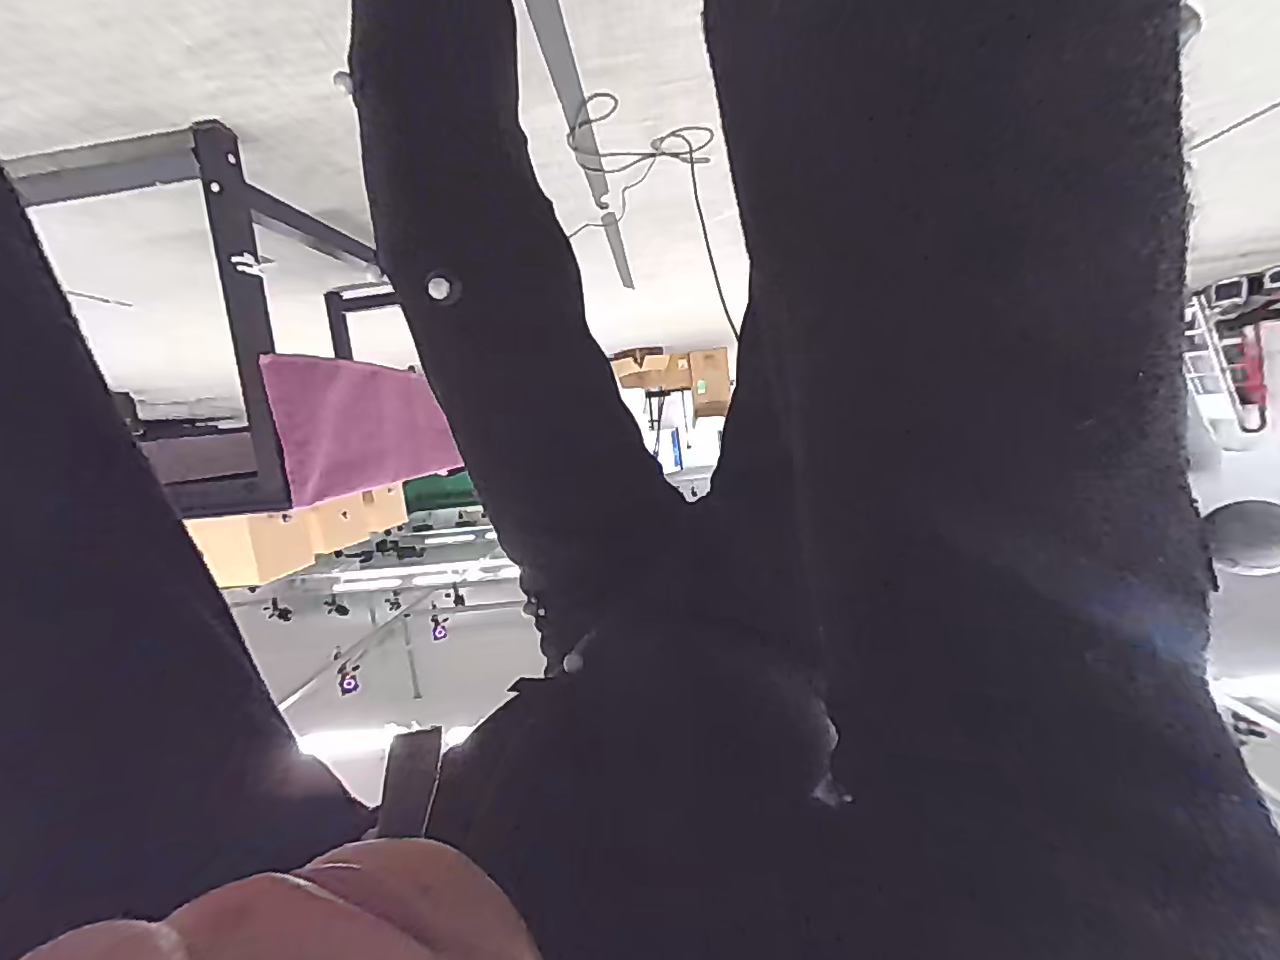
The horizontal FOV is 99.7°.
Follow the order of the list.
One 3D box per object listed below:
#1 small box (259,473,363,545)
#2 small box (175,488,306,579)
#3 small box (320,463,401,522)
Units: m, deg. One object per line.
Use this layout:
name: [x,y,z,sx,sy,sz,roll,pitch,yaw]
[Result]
small box: [-0.913,0.077,1.498,0.179,0.176,0.168,-5,-172,13]
small box: [-0.905,0.114,1.229,0.179,0.176,0.168,-5,-171,8]
small box: [-0.911,0.041,1.750,0.179,0.176,0.168,-6,-172,8]
